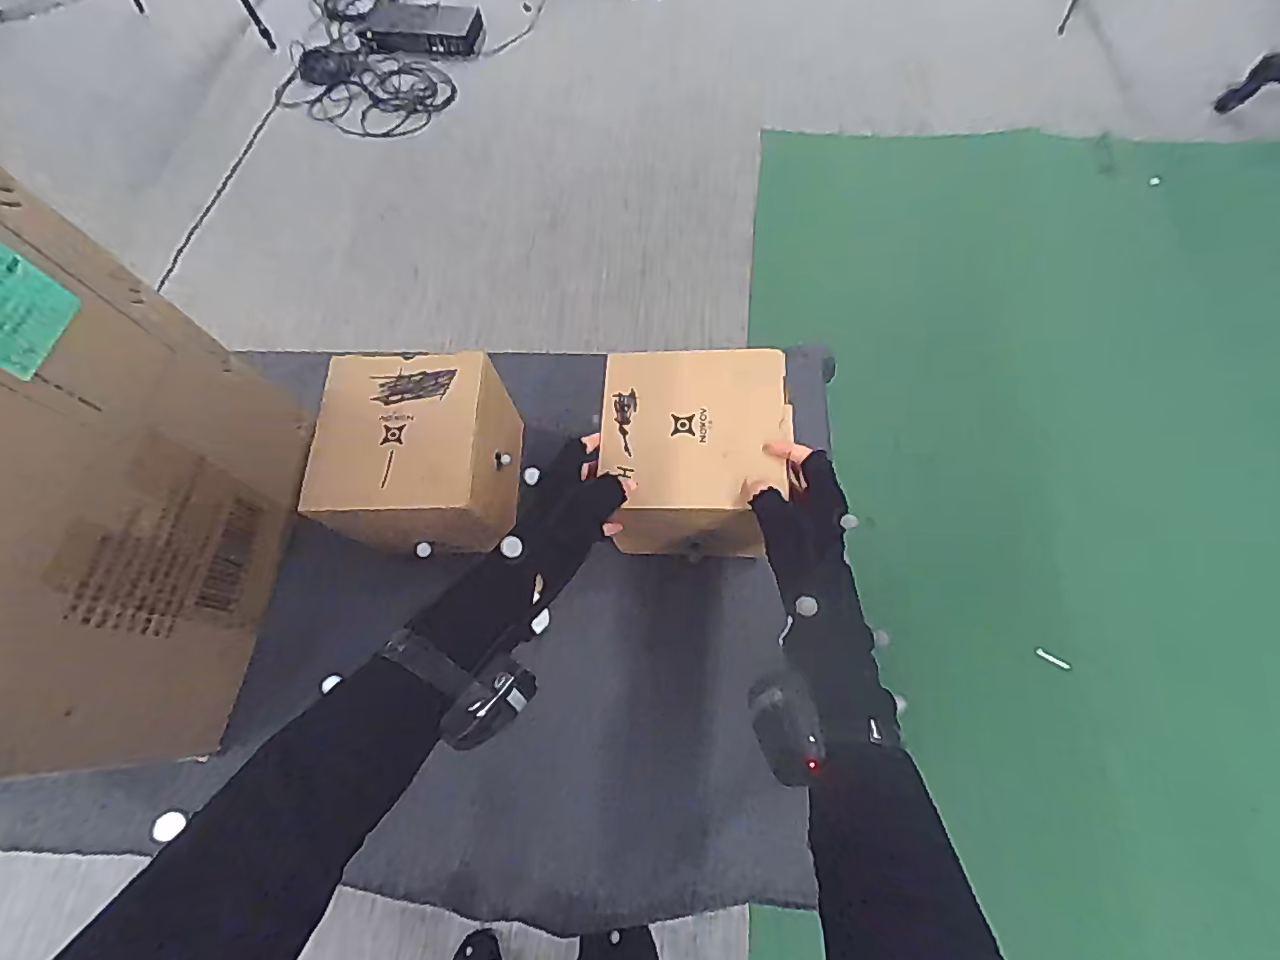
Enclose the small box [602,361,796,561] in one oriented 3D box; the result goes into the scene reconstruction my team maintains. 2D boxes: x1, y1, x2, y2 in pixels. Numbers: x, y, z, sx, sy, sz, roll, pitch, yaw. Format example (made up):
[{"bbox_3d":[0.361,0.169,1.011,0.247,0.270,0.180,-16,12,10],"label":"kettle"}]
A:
[{"bbox_3d":[0.064,-0.012,0.587,0.179,0.176,0.168,1,68,7],"label":"small box"}]
